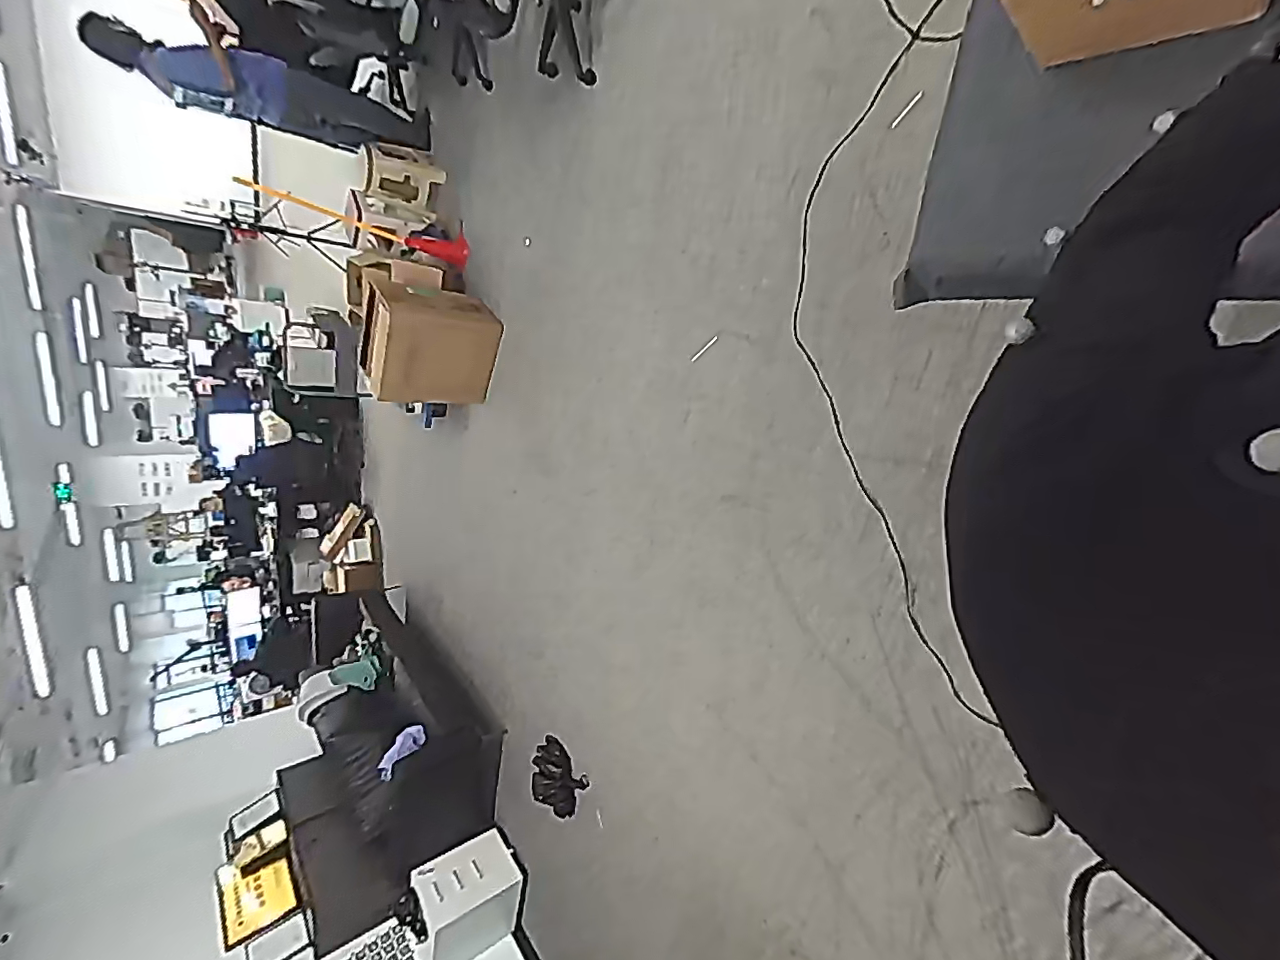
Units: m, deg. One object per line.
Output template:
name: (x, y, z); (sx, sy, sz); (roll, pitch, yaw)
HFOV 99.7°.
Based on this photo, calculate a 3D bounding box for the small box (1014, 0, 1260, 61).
small box: (0.462, -0.518, 0.484); (0.179, 0.176, 0.168); (22, 111, 44)
